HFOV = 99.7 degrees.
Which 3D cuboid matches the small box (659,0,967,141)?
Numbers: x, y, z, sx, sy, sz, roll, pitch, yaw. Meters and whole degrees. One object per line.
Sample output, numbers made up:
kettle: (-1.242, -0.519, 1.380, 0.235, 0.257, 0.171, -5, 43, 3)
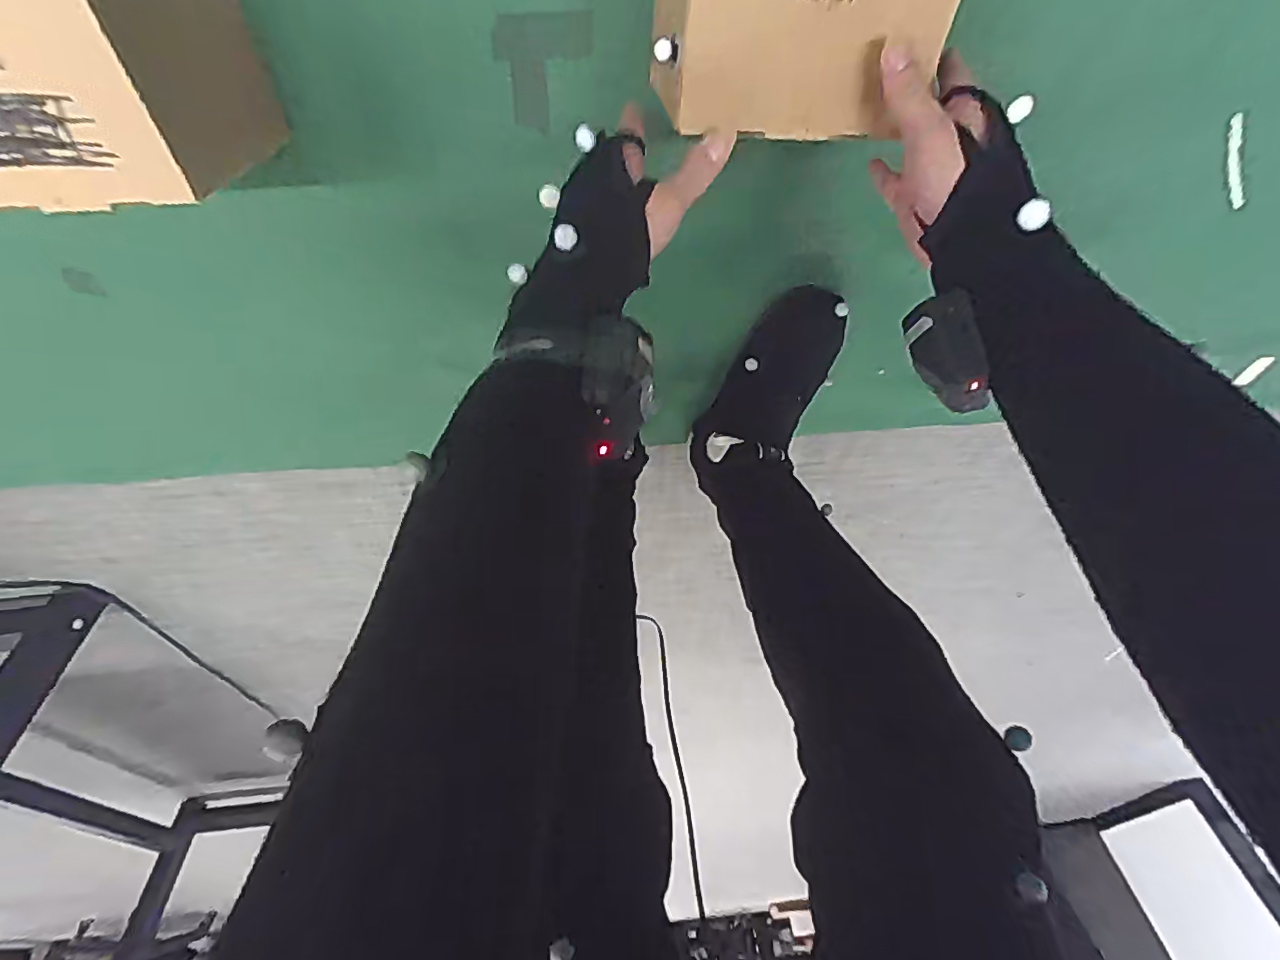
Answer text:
small box: (0.105, -0.349, 0.358, 0.168, 0.176, 0.179, -2, 137, -5)
